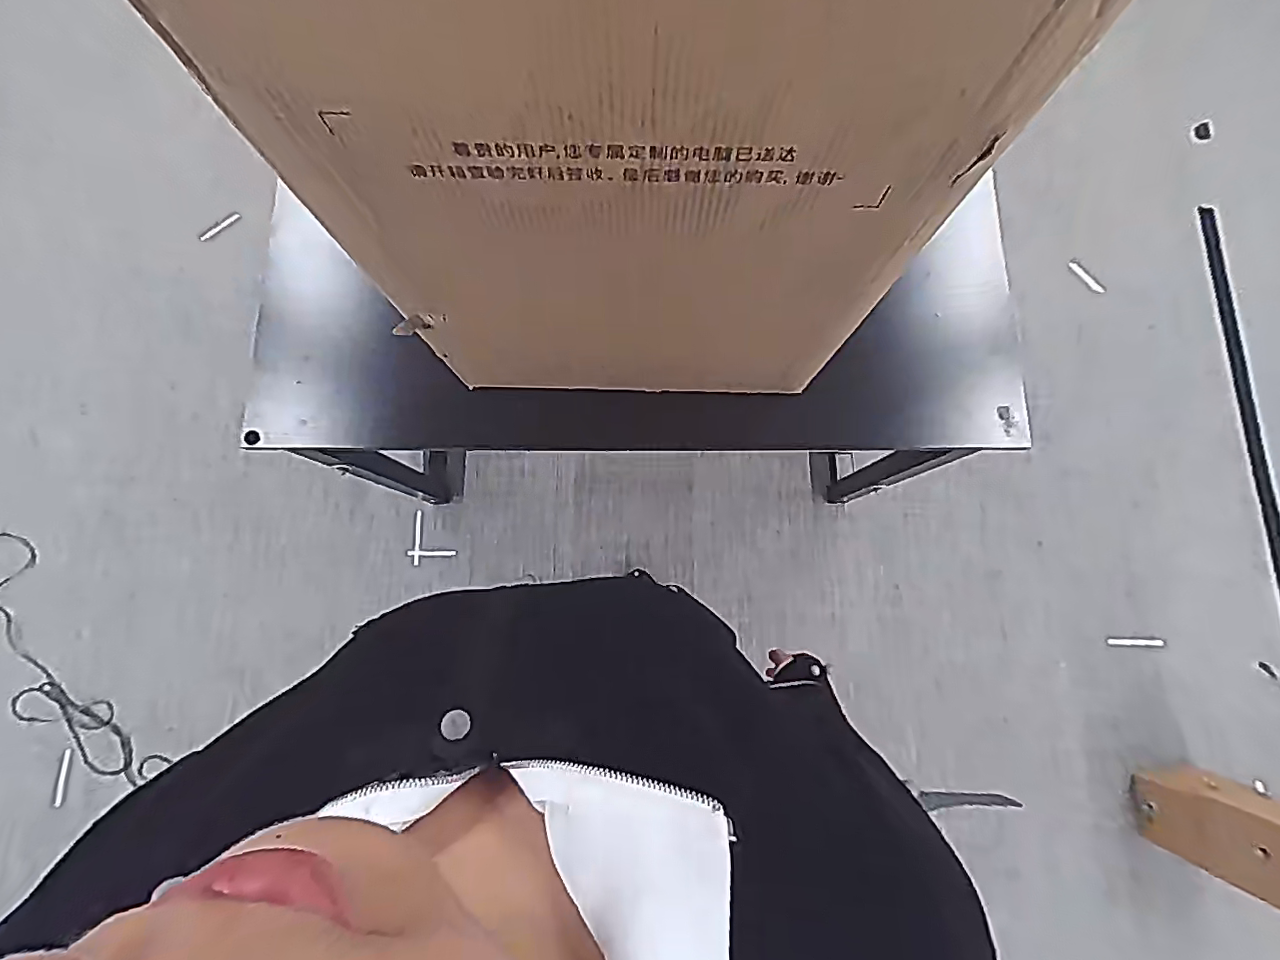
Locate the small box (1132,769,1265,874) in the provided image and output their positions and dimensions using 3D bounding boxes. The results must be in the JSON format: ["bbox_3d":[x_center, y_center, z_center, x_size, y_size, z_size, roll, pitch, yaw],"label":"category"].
[{"bbox_3d":[1.374,0.825,1.322,0.179,0.176,0.168,-5,79,0],"label":"small box"}]

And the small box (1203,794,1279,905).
[{"bbox_3d":[1.375,0.795,1.160,0.168,0.176,0.179,0,80,0],"label":"small box"}]
